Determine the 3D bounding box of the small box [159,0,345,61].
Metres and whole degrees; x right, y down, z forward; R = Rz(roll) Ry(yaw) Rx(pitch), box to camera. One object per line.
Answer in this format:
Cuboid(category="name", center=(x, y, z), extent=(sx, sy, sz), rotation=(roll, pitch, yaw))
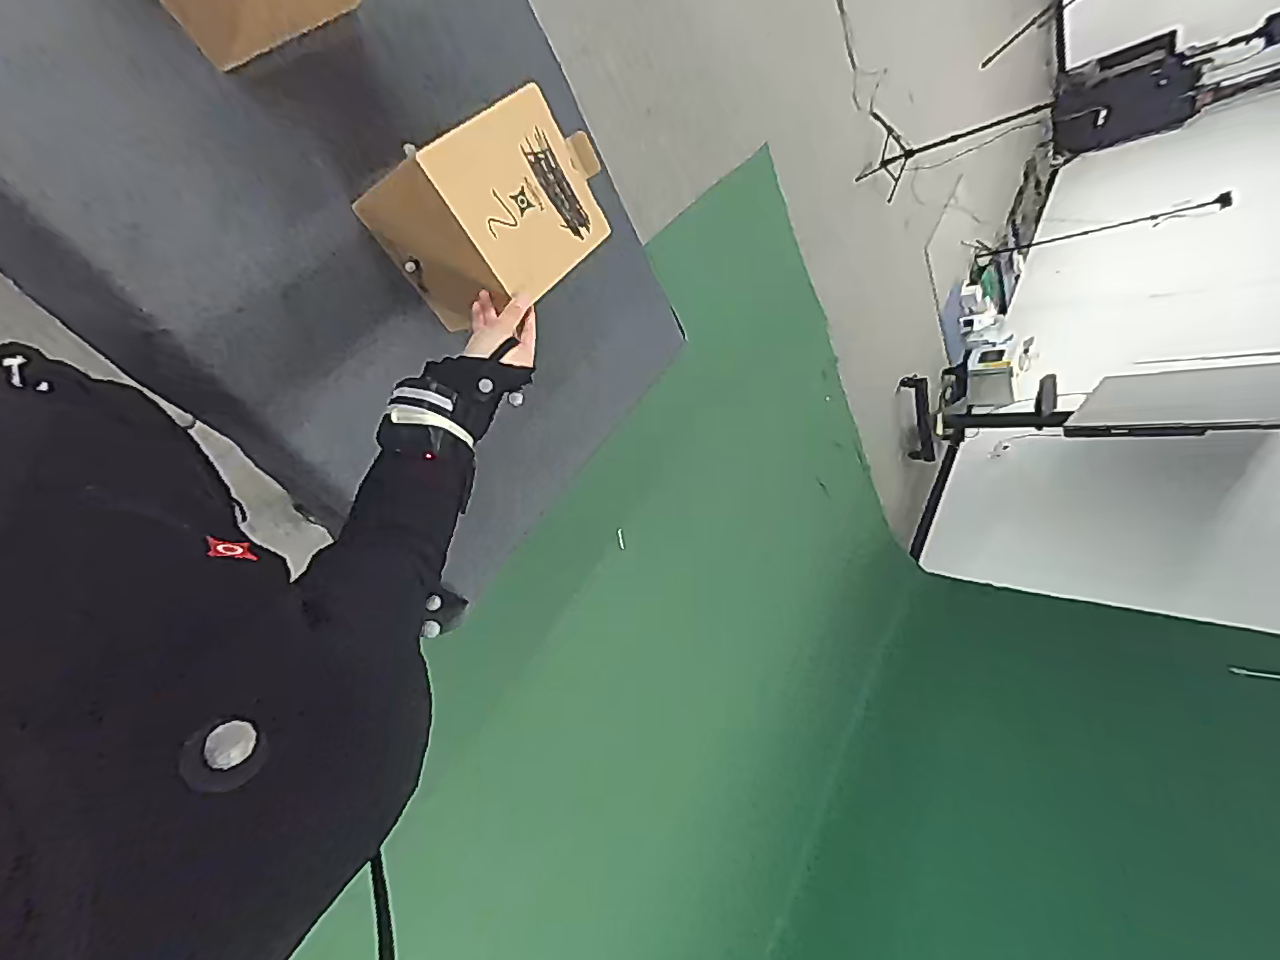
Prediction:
Cuboid(category="small box", center=(-0.332, -0.496, 0.440), extent=(0.168, 0.176, 0.179), rotation=(52, 58, -34))
